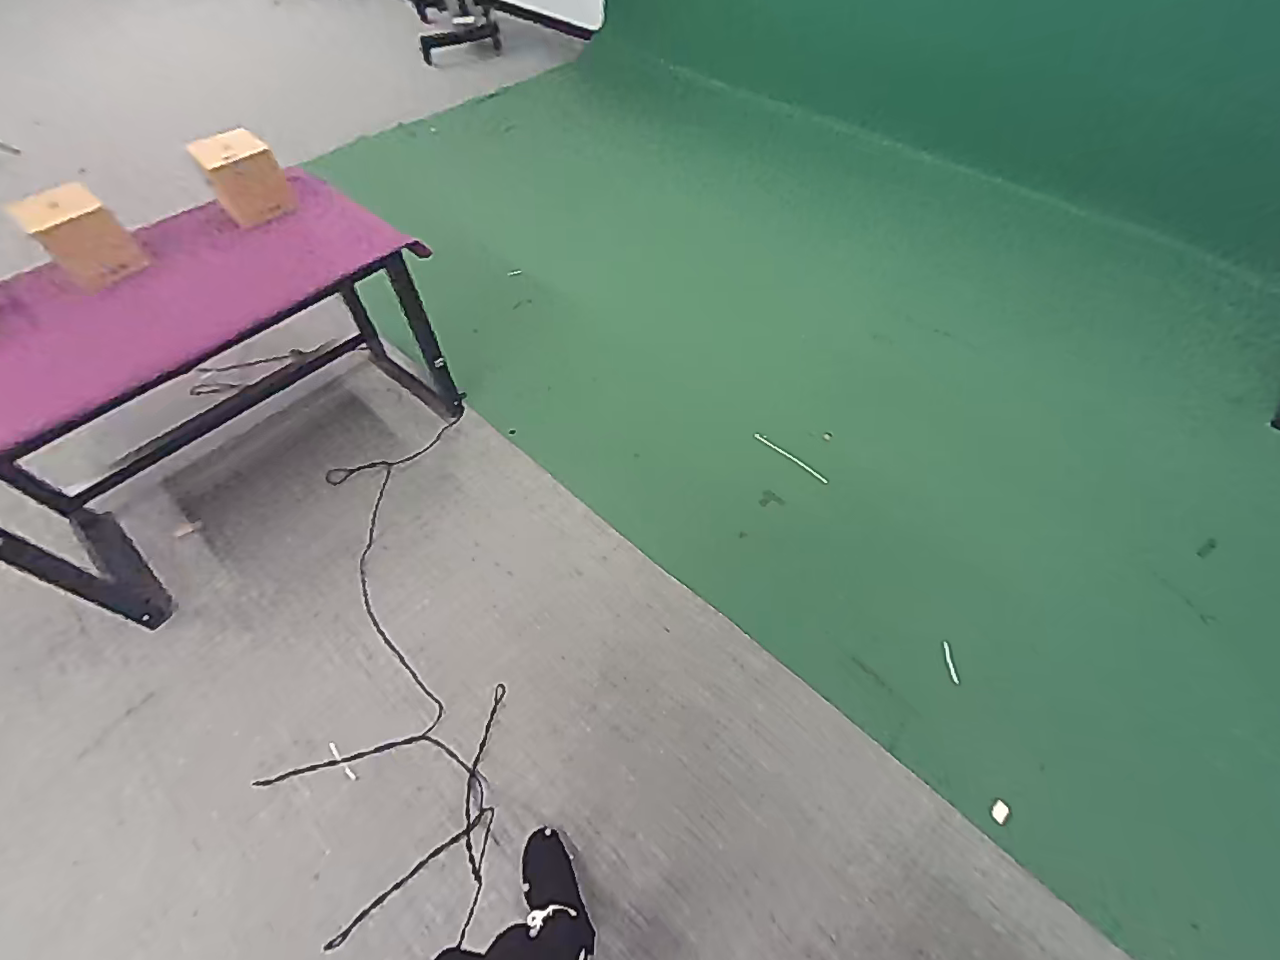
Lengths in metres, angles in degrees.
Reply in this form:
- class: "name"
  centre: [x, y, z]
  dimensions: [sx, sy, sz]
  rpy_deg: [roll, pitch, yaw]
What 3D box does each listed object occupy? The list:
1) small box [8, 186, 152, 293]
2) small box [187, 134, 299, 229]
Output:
- class: "small box"
  centre: [-1.417, -0.609, 1.378]
  dimensions: [0.179, 0.176, 0.168]
  rpy_deg: [36, 63, 21]
- class: "small box"
  centre: [-1.128, -0.850, 1.545]
  dimensions: [0.179, 0.176, 0.168]
  rpy_deg: [39, 64, 24]
